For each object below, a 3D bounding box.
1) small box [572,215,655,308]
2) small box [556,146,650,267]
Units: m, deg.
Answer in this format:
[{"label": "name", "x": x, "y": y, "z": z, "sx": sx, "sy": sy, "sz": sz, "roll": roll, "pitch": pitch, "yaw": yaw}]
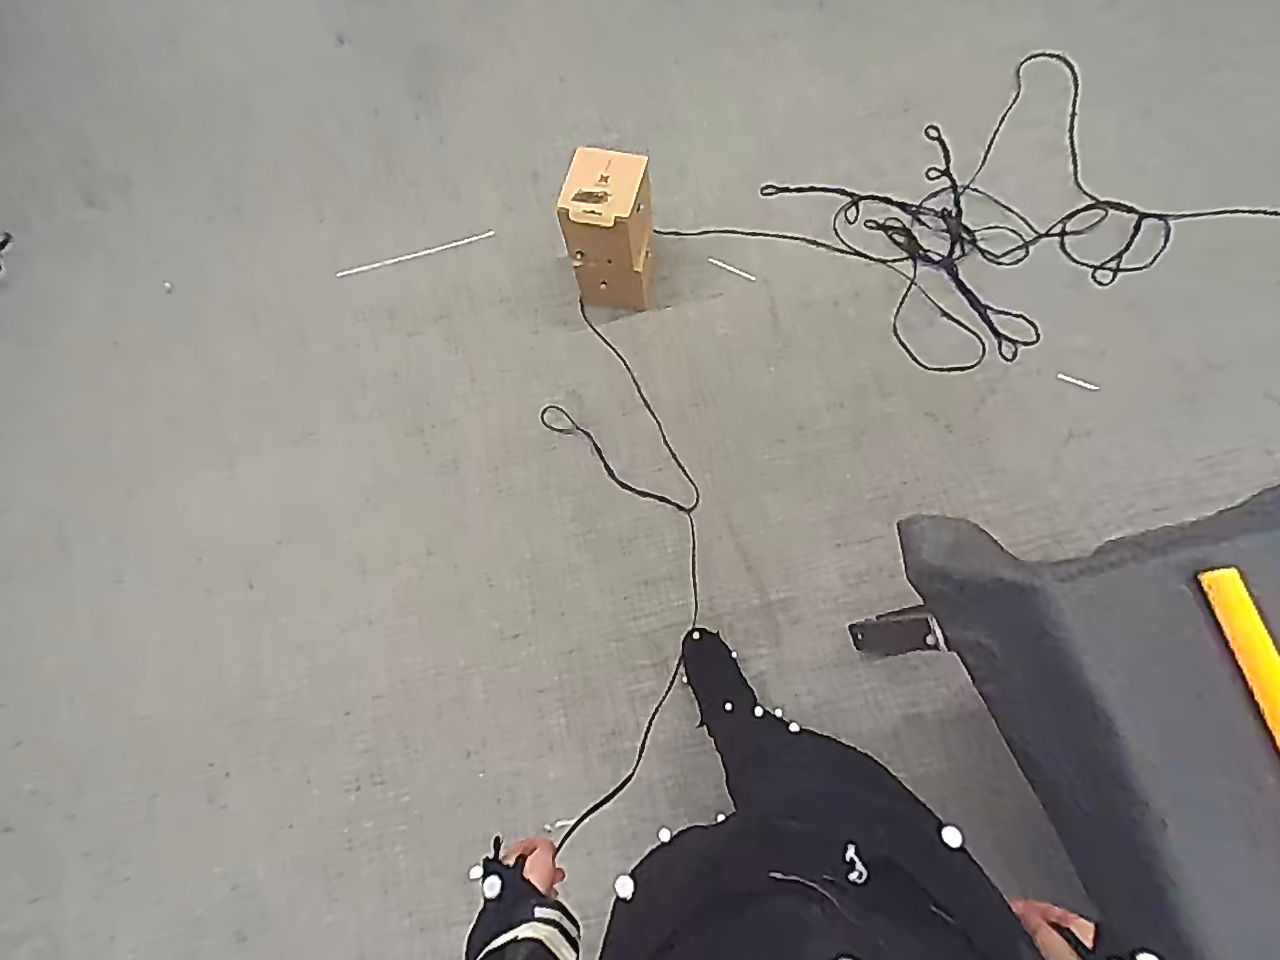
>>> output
[{"label": "small box", "x": -0.062, "y": -0.569, "z": 1.406, "sx": 0.179, "sy": 0.176, "sz": 0.168, "roll": 8, "pitch": 74, "yaw": 7}, {"label": "small box", "x": -0.076, "y": -0.625, "z": 1.252, "sx": 0.168, "sy": 0.176, "sz": 0.179, "roll": 13, "pitch": 74, "yaw": 8}]
